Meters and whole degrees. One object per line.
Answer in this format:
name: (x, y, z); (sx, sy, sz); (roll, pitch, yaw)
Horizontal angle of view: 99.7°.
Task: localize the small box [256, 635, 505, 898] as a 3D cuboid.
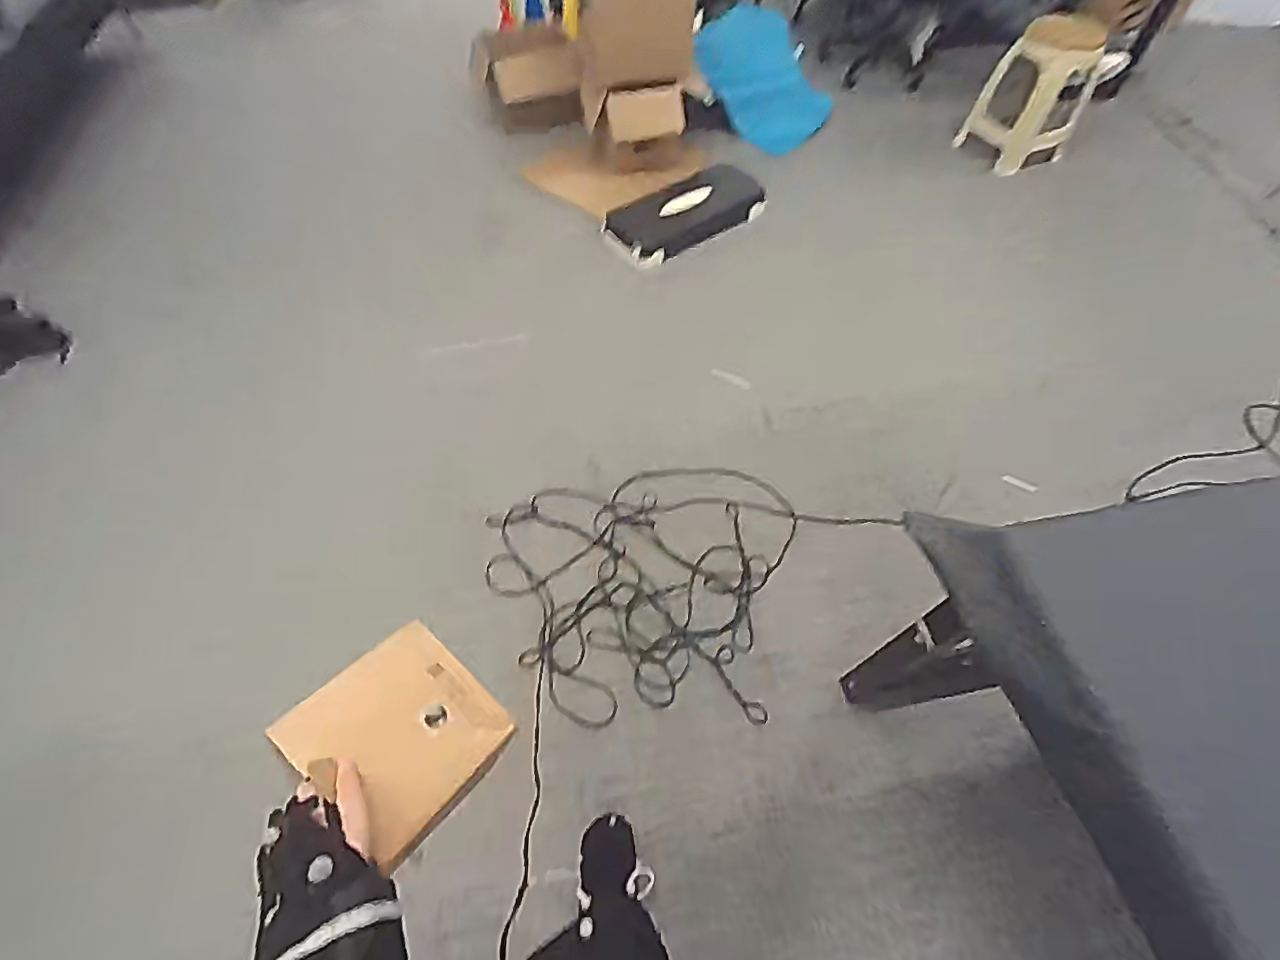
small box: (-0.270, 0.307, 0.590); (0.168, 0.179, 0.176); (39, 46, 11)
